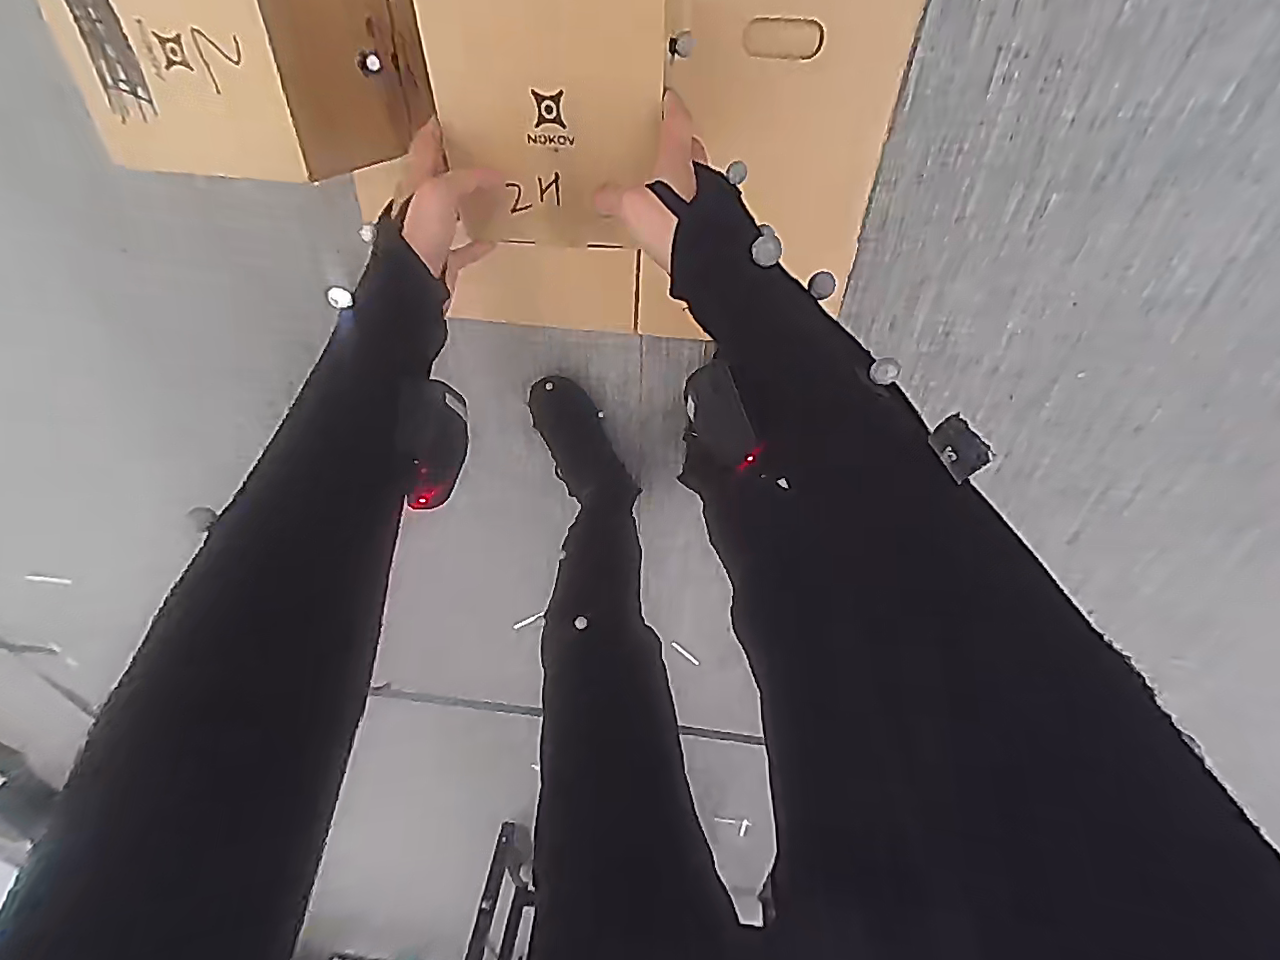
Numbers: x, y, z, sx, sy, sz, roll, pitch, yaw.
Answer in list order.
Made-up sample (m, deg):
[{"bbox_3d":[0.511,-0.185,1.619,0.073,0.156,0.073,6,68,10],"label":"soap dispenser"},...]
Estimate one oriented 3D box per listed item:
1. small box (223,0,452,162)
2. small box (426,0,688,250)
[{"bbox_3d":[-0.301,-0.462,0.592,0.179,0.176,0.168,7,129,5],"label":"small box"},{"bbox_3d":[-0.051,-0.315,0.447,0.168,0.176,0.179,6,135,5],"label":"small box"}]
